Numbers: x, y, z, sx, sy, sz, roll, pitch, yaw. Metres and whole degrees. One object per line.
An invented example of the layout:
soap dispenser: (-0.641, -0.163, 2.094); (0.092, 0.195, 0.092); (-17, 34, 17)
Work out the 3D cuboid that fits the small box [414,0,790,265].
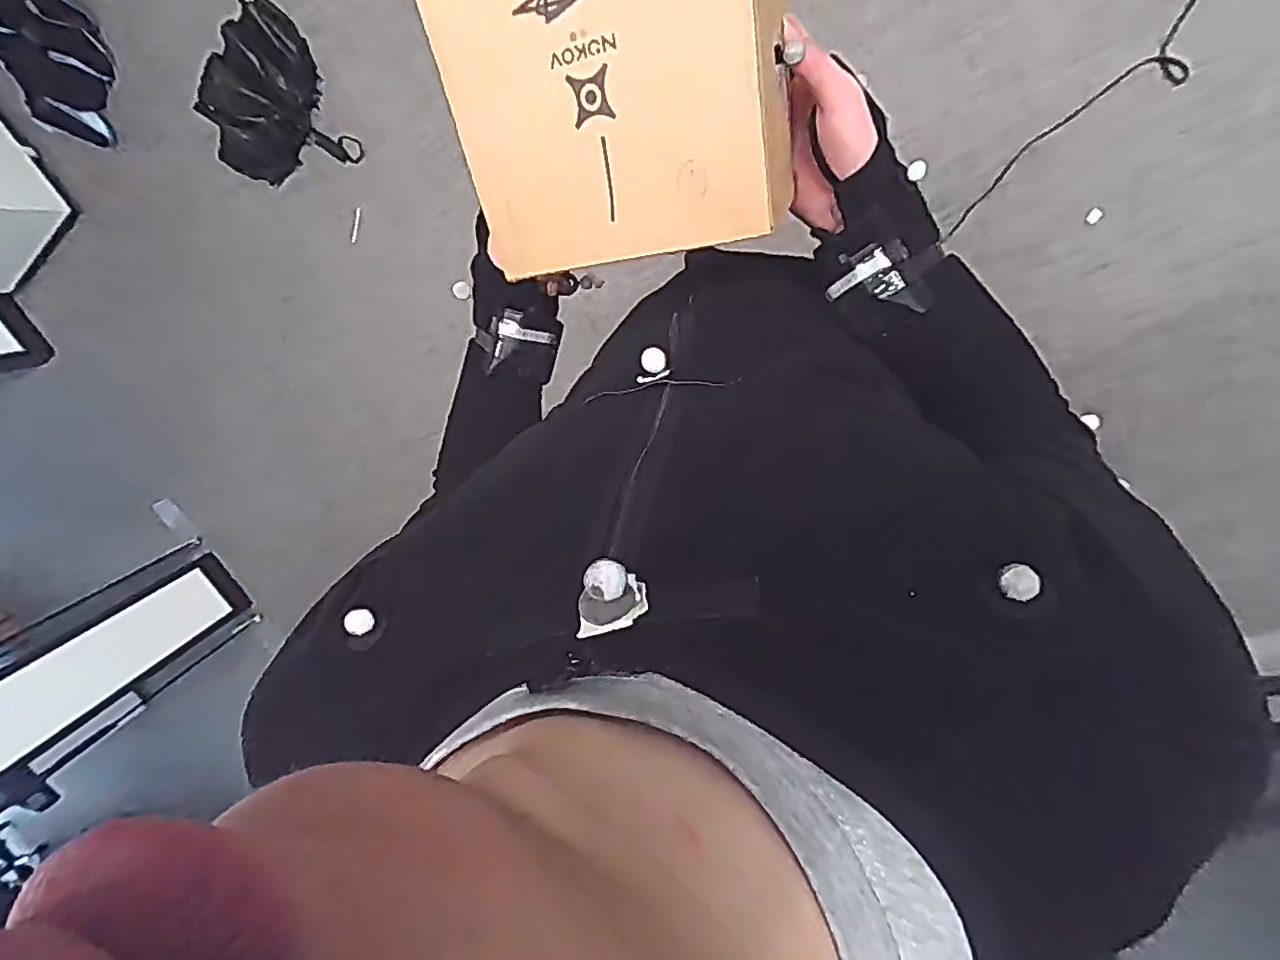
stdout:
small box: (-0.004, -0.247, 0.324); (0.168, 0.176, 0.179); (1, 124, 21)
